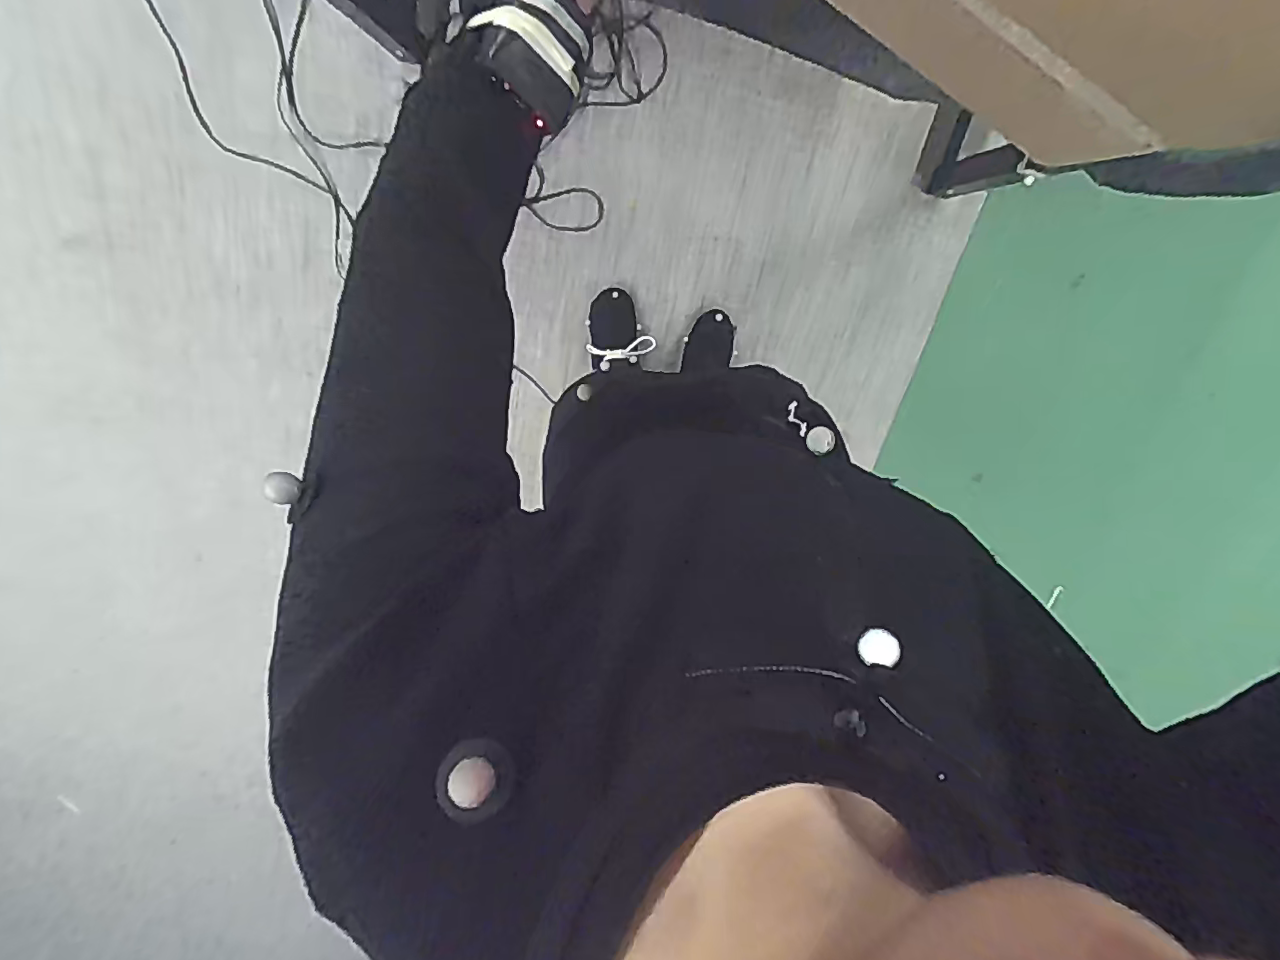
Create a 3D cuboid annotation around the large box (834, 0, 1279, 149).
[{"bbox_3d":[0.169,-0.378,0.179,0.408,0.320,0.320,32,119,-3],"label":"large box"}]
